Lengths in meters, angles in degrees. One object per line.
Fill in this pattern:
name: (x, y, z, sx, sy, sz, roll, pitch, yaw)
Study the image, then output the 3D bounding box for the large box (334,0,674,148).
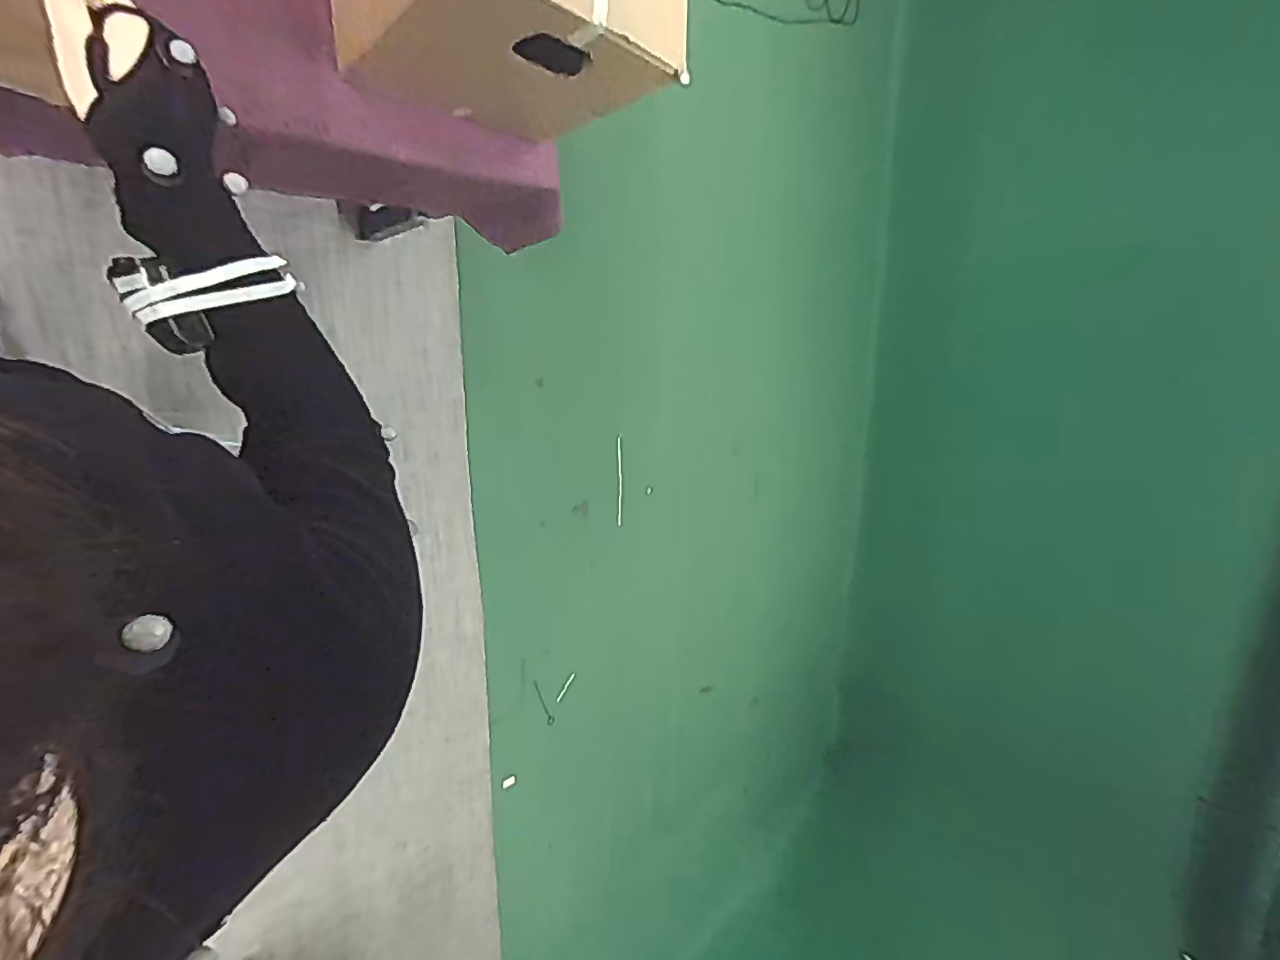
large box: (-0.170, -0.698, 0.653, 0.320, 0.320, 0.408, -13, 109, -45)
